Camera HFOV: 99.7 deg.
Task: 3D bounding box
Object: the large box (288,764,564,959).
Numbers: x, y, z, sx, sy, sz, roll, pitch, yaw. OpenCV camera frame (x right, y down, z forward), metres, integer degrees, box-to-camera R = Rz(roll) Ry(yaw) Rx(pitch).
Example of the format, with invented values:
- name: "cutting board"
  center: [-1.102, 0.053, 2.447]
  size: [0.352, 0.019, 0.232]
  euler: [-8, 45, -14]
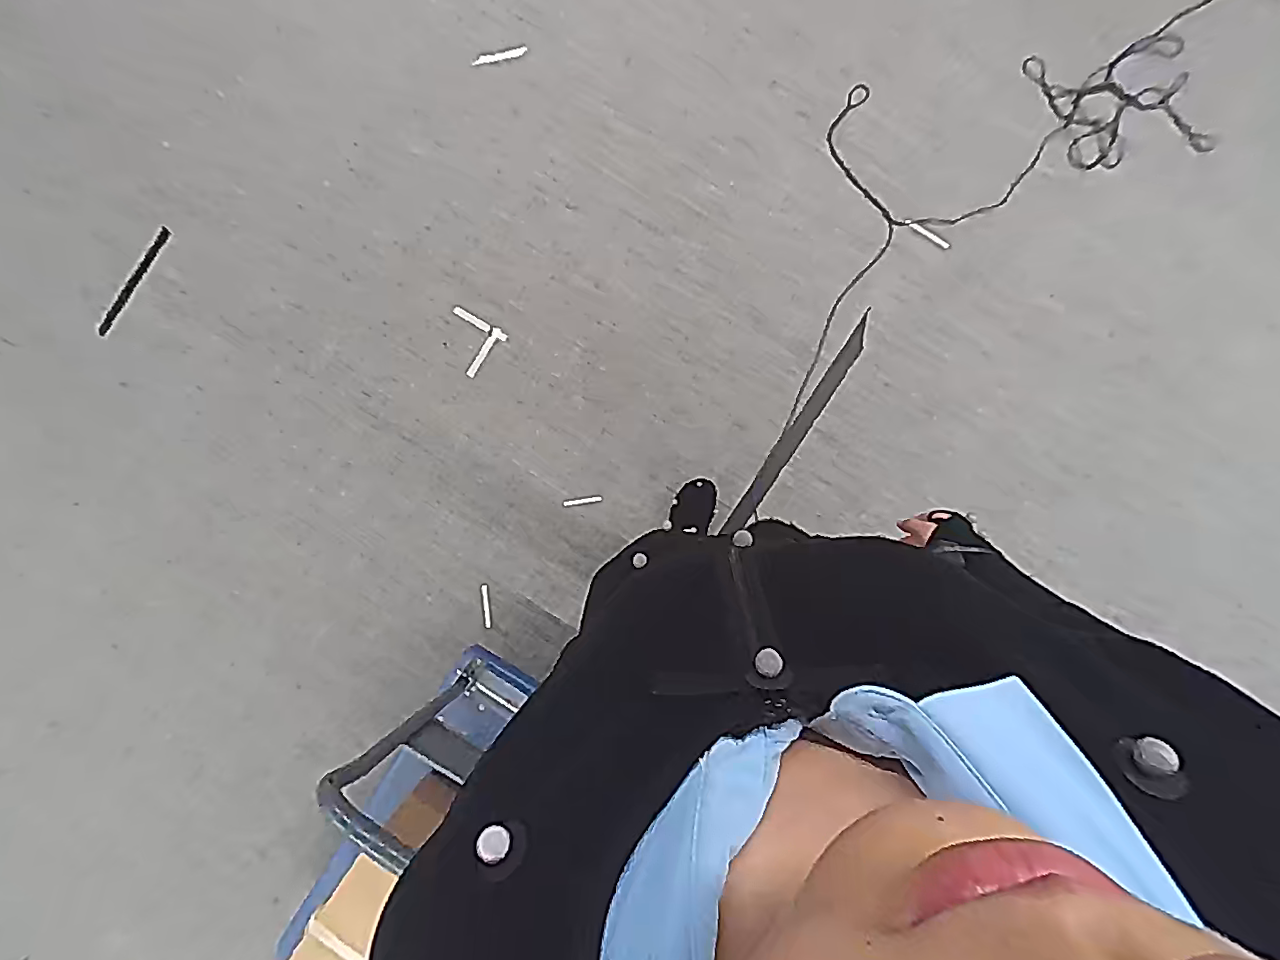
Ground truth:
- name: "large box"
  center: [-0.429, 0.910, 1.162]
  size: [0.408, 0.320, 0.320]
  euler: [34, 89, 2]
